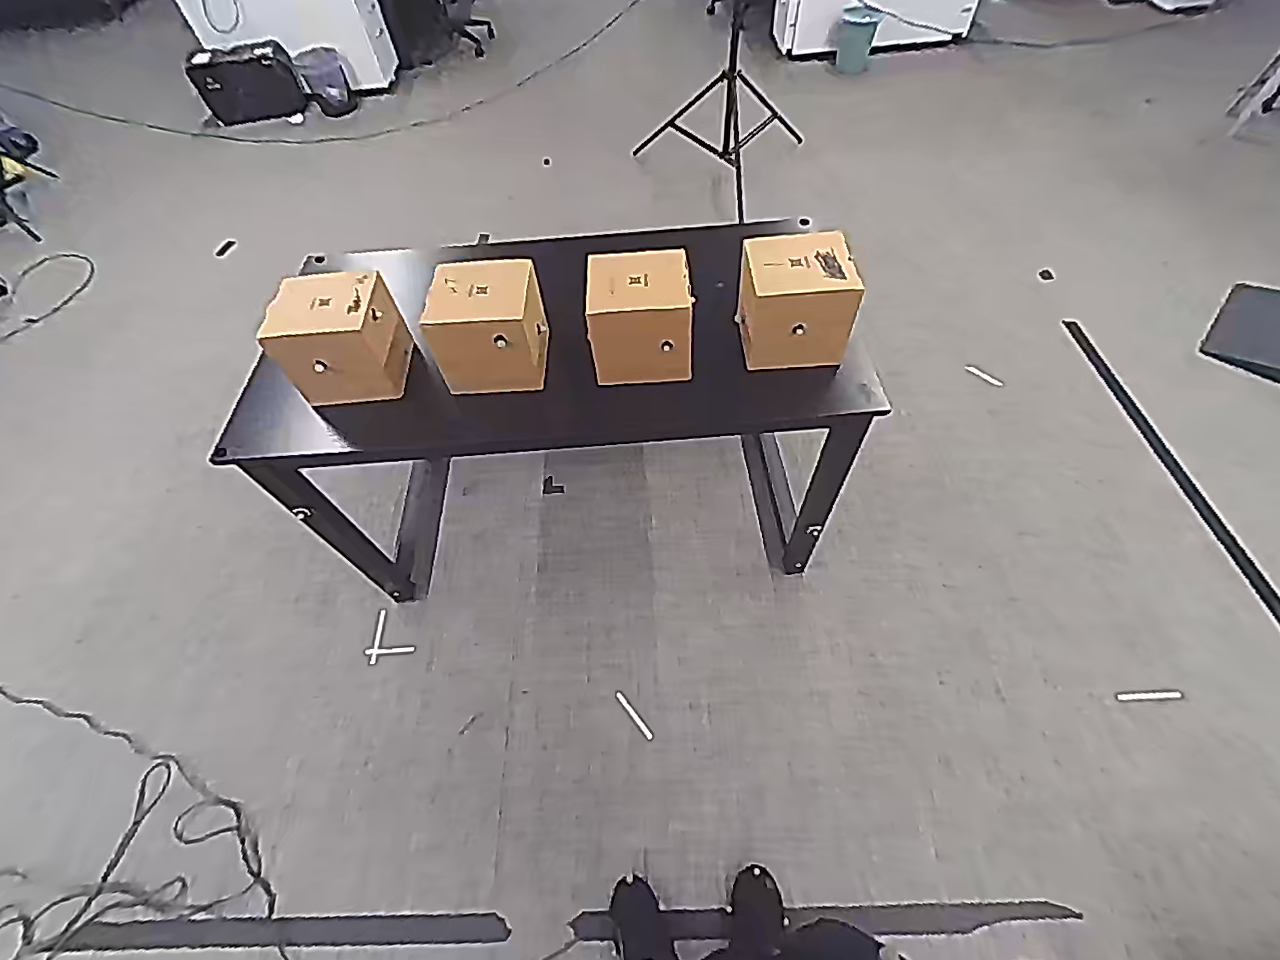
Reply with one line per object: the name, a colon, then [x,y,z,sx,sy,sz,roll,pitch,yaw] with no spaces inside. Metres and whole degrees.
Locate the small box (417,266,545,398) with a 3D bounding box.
small box: [-0.278,-0.268,0.996,0.179,0.176,0.168,-3,55,2]

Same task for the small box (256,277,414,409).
small box: [-0.550,-0.248,1.002,0.179,0.176,0.168,-6,56,0]

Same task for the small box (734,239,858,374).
small box: [0.273,-0.311,0.987,0.179,0.176,0.168,-4,55,3]

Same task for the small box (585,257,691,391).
small box: [-0.005,-0.281,0.989,0.179,0.176,0.168,-4,54,1]
